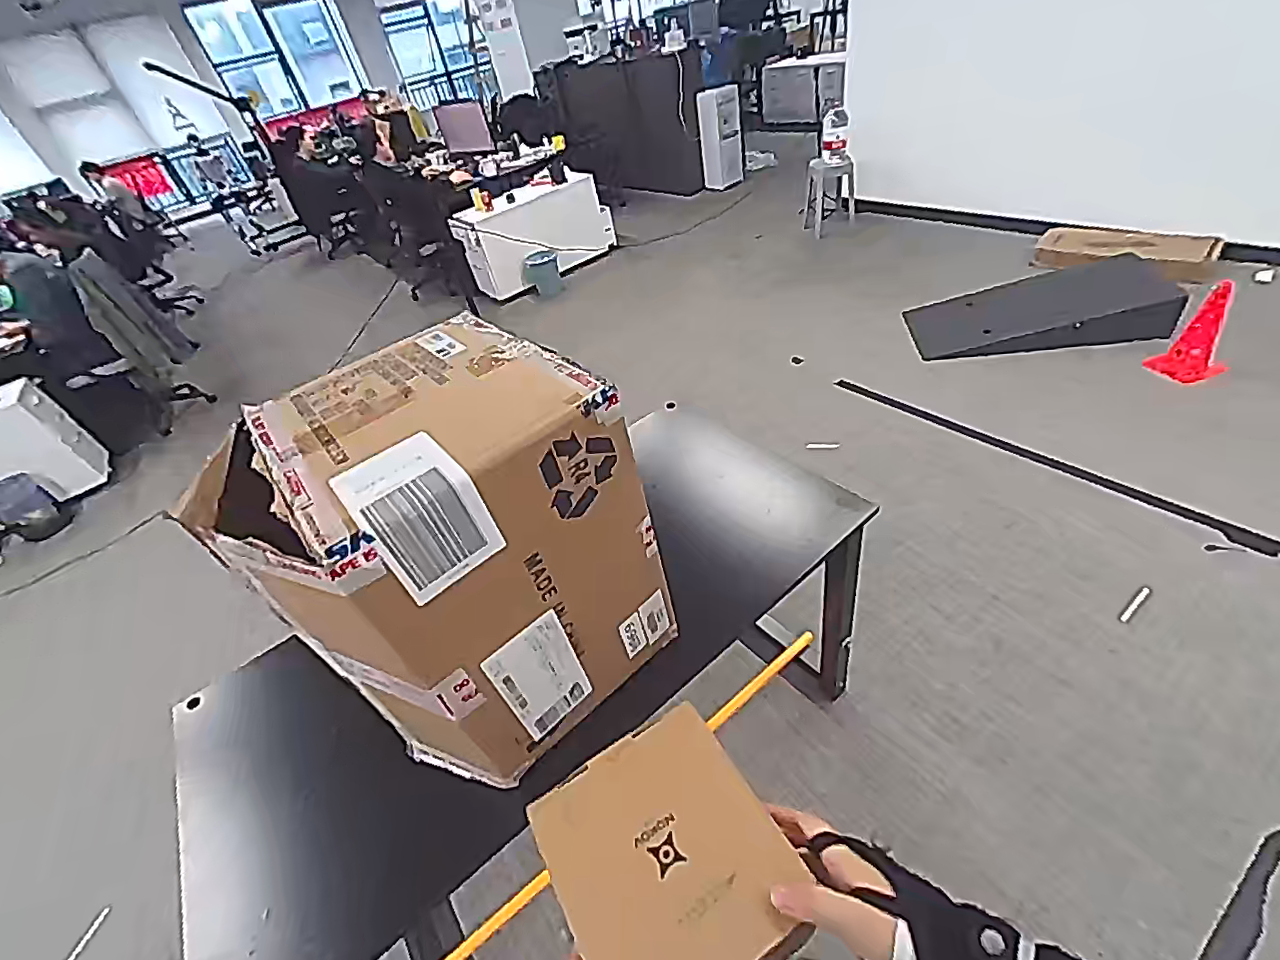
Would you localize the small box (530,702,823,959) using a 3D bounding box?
[{"bbox_3d":[0.029,0.339,0.464,0.168,0.176,0.179,-27,44,-17],"label":"small box"}]
